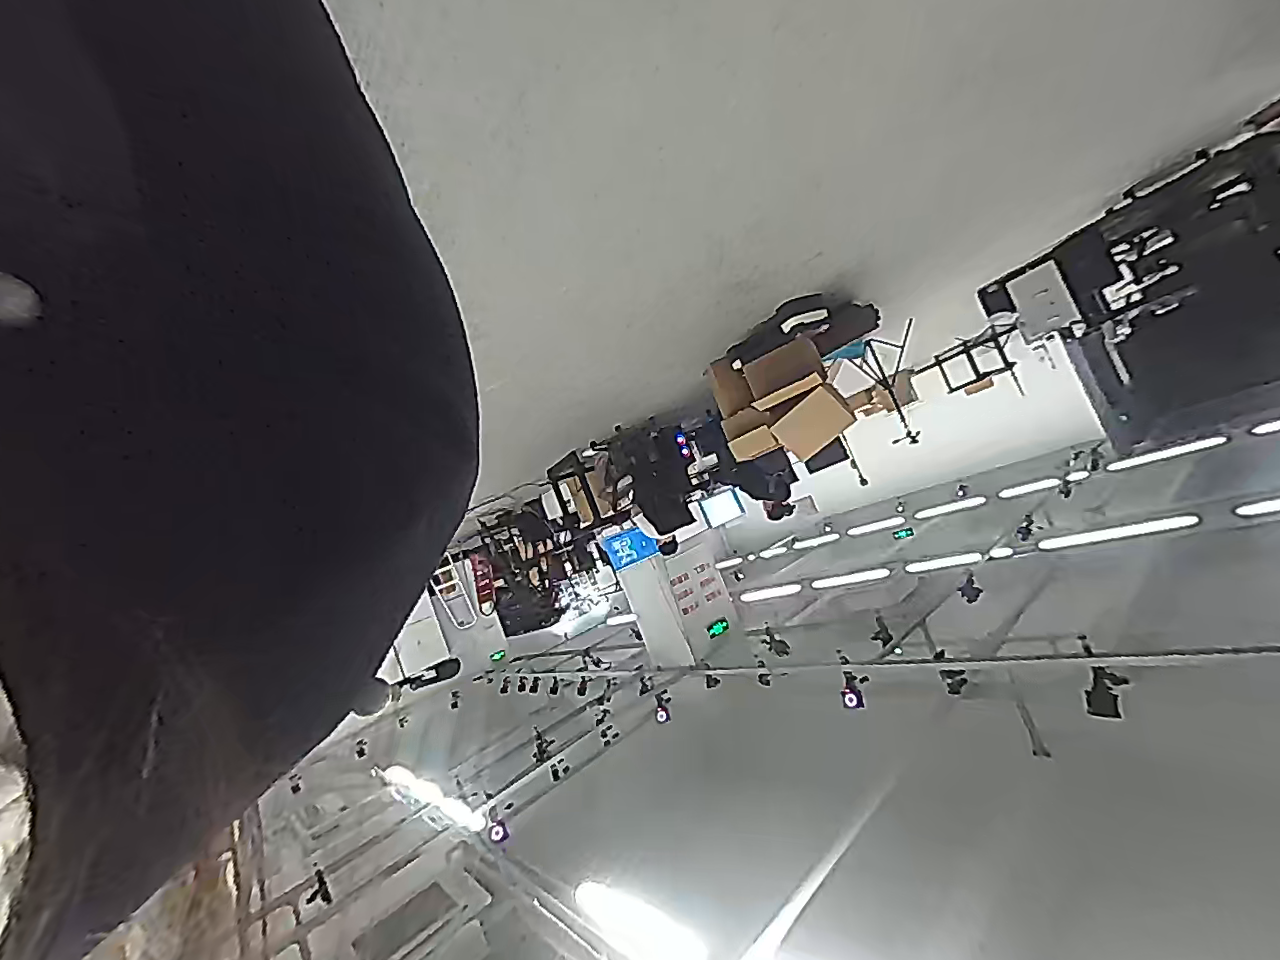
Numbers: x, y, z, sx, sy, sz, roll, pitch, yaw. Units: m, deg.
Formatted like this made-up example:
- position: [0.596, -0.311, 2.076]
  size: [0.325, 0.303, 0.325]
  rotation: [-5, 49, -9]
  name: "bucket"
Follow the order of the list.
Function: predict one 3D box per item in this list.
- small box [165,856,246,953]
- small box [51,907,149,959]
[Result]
- position: [-1.447, 1.405, 1.804]
  size: [0.168, 0.176, 0.179]
  rotation: [-21, 172, -36]
  name: "small box"
- position: [-1.656, 1.466, 1.651]
  size: [0.179, 0.176, 0.168]
  rotation: [-21, 173, -35]
  name: "small box"
